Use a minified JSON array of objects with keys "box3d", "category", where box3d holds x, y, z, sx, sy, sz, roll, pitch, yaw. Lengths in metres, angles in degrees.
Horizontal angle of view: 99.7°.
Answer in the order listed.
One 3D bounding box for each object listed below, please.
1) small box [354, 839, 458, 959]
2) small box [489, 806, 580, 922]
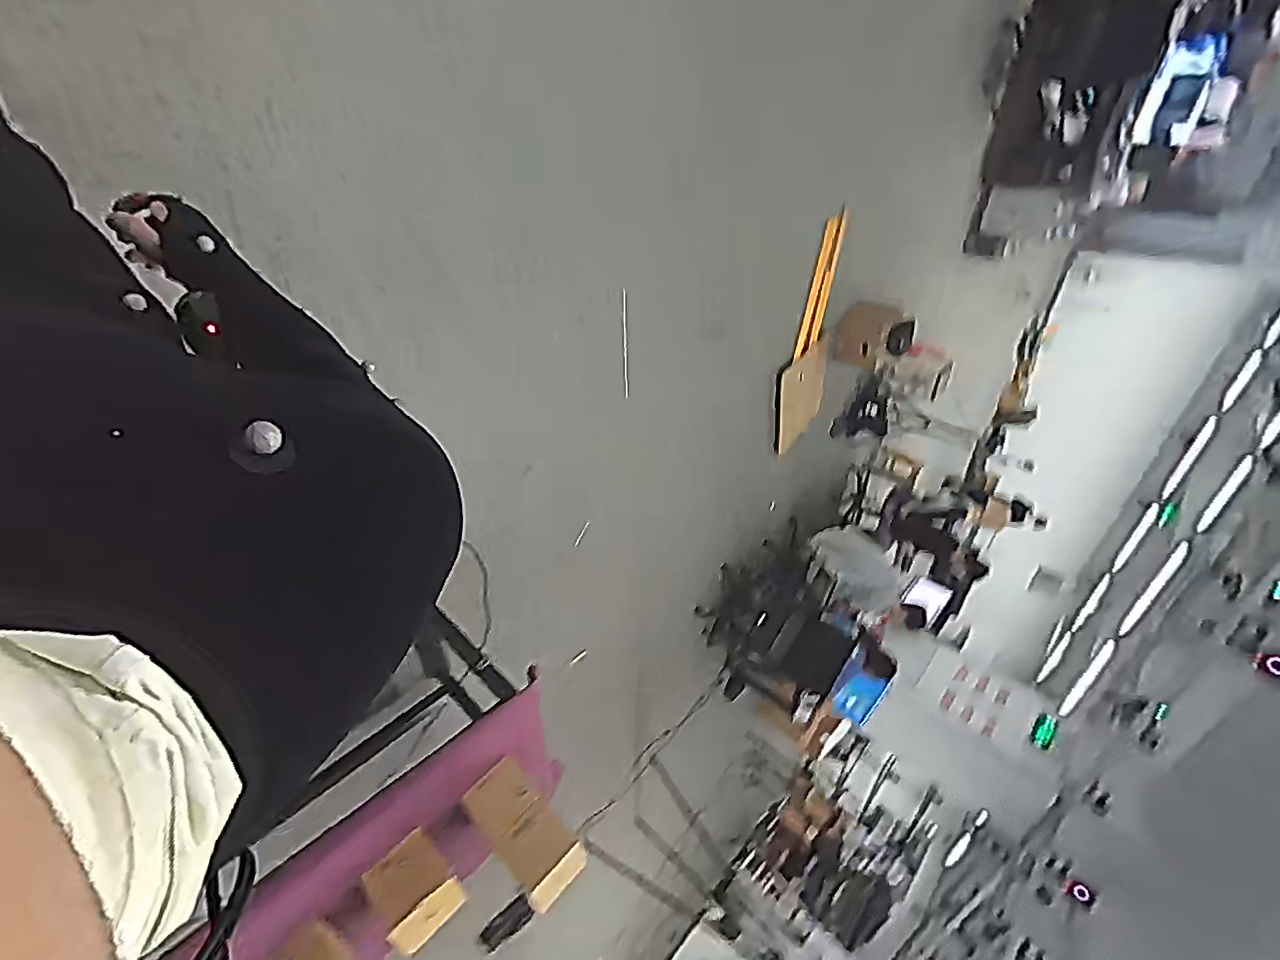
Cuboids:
[{"box3d":[-0.598,1.072,1.385,0.168,0.176,0.179,-33,135,-35],"category":"small box"},{"box3d":[-0.285,1.034,1.467,0.168,0.176,0.179,-33,137,-35],"category":"small box"}]
